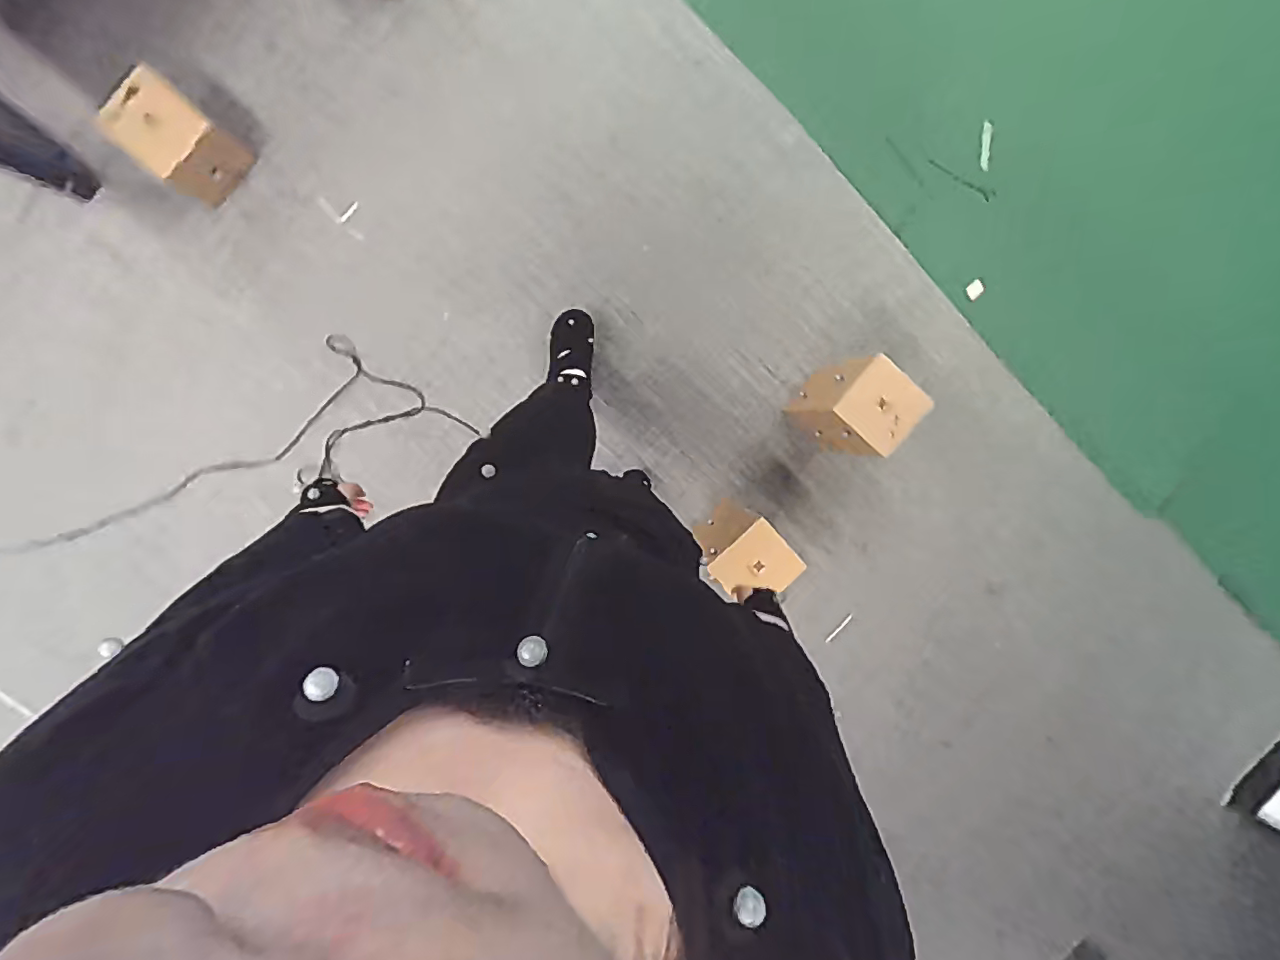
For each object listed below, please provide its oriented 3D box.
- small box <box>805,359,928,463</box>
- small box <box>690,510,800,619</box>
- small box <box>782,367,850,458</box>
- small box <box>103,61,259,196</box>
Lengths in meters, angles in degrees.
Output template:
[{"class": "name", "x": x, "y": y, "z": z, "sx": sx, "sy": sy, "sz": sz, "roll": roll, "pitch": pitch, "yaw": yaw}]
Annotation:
[{"class": "small box", "x": 0.524, "y": -0.160, "z": 1.281, "sx": 0.179, "sy": 0.176, "sz": 0.168, "roll": 41, "pitch": 93, "yaw": -8}, {"class": "small box", "x": 0.242, "y": 0.194, "z": 1.302, "sx": 0.179, "sy": 0.176, "sz": 0.168, "roll": -42, "pitch": 99, "yaw": 1}, {"class": "small box", "x": 0.512, "y": -0.177, "z": 1.444, "sx": 0.179, "sy": 0.176, "sz": 0.168, "roll": 43, "pitch": 93, "yaw": -9}, {"class": "small box", "x": -1.034, "y": -0.786, "z": 1.239, "sx": 0.179, "sy": 0.176, "sz": 0.168, "roll": 44, "pitch": 92, "yaw": -9}]
